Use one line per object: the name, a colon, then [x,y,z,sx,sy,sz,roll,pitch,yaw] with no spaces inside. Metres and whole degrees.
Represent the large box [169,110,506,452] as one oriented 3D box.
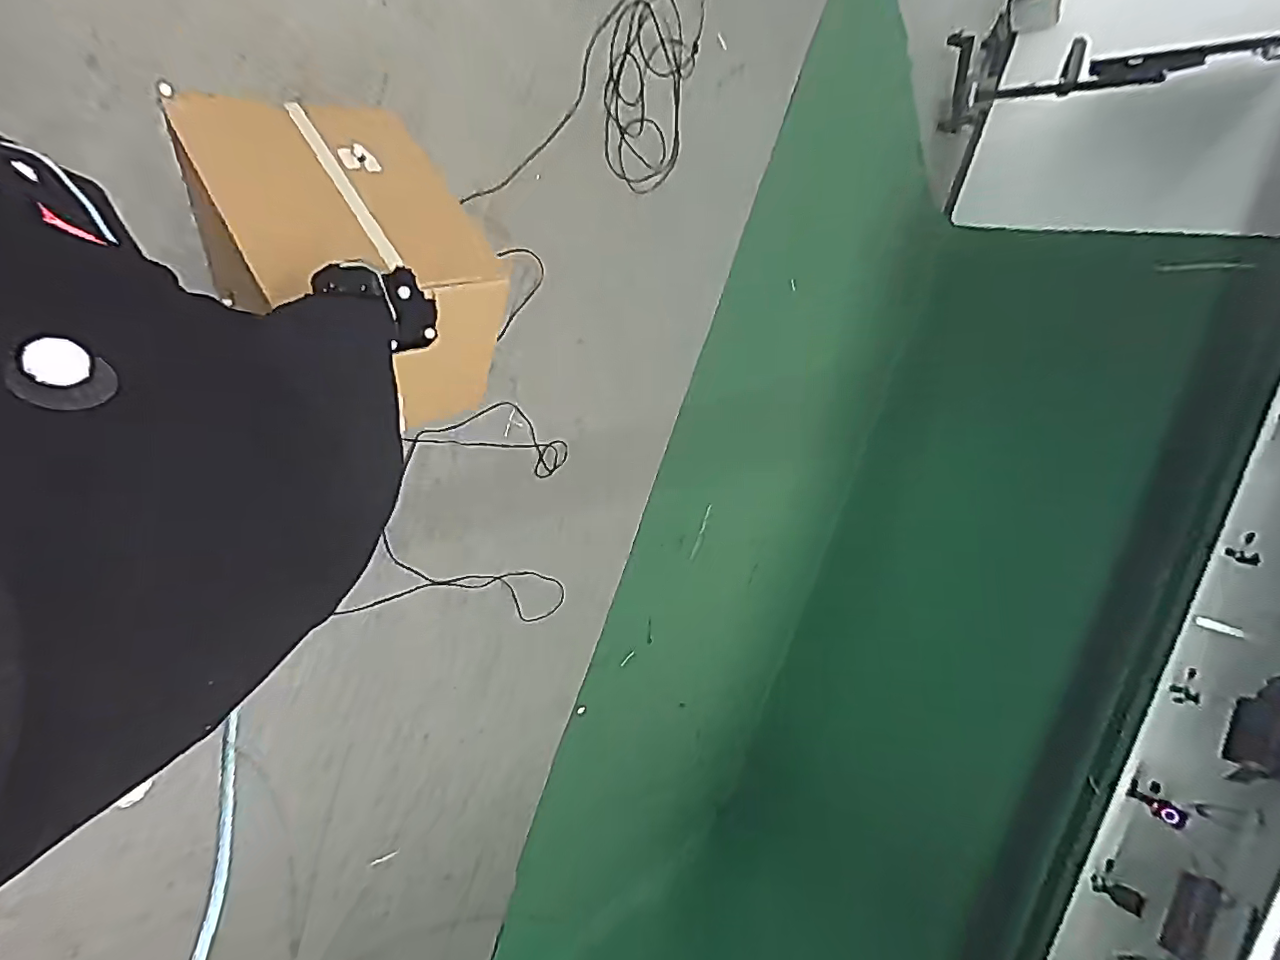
large box: [-0.476,-0.320,0.889,0.320,0.408,0.320,-23,160,-37]
